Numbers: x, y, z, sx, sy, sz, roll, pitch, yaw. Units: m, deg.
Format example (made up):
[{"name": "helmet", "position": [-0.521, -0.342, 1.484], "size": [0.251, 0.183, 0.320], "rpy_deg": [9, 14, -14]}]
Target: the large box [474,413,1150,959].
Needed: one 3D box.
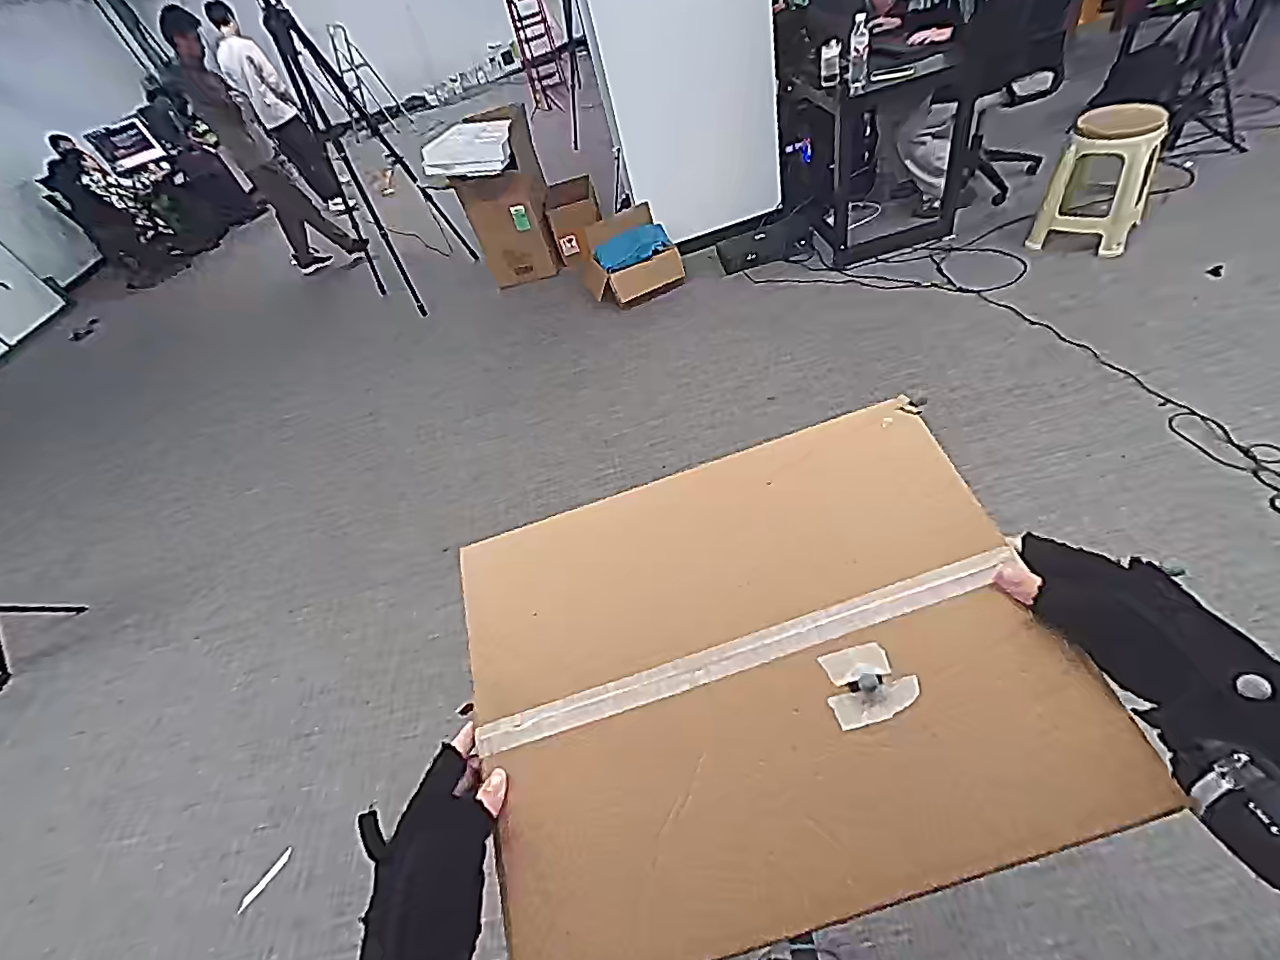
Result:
[{"name": "large box", "position": [0.106, 0.202, 0.528], "size": [0.408, 0.320, 0.320], "rpy_deg": [-20, 60, 0]}]
